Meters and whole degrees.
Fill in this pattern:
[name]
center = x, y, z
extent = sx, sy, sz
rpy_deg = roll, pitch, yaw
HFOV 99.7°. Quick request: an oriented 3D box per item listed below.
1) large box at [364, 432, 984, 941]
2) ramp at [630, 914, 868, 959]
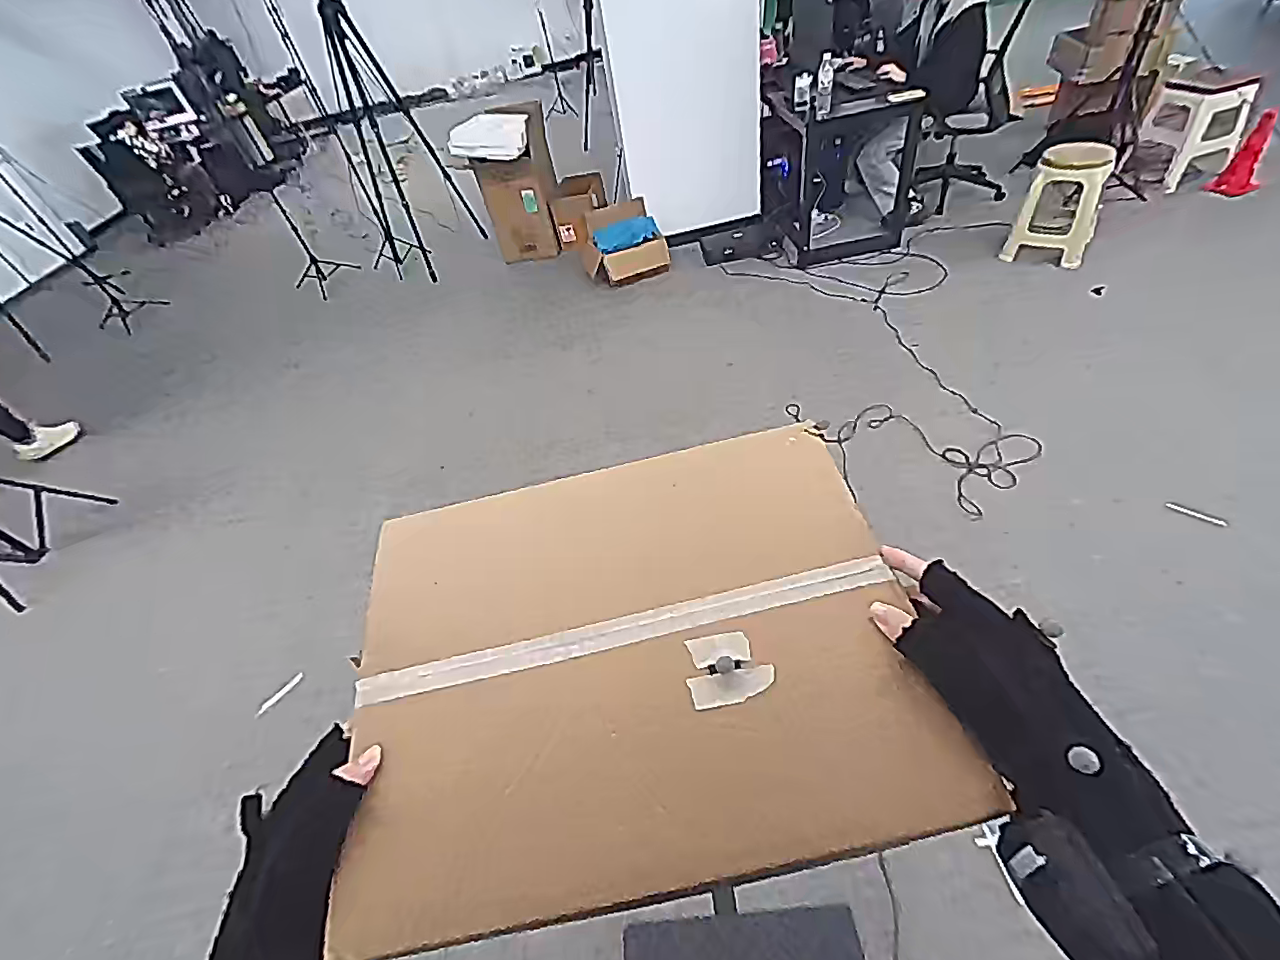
[large box]
center = 0.015, 0.206, 0.538
extent = 0.408, 0.320, 0.320
rpy_deg = -13, 53, 0
[ramp]
center = 0.226, 1.240, 0.754
extent = 0.509, 0.206, 0.991
rpy_deg = -11, 44, 4
